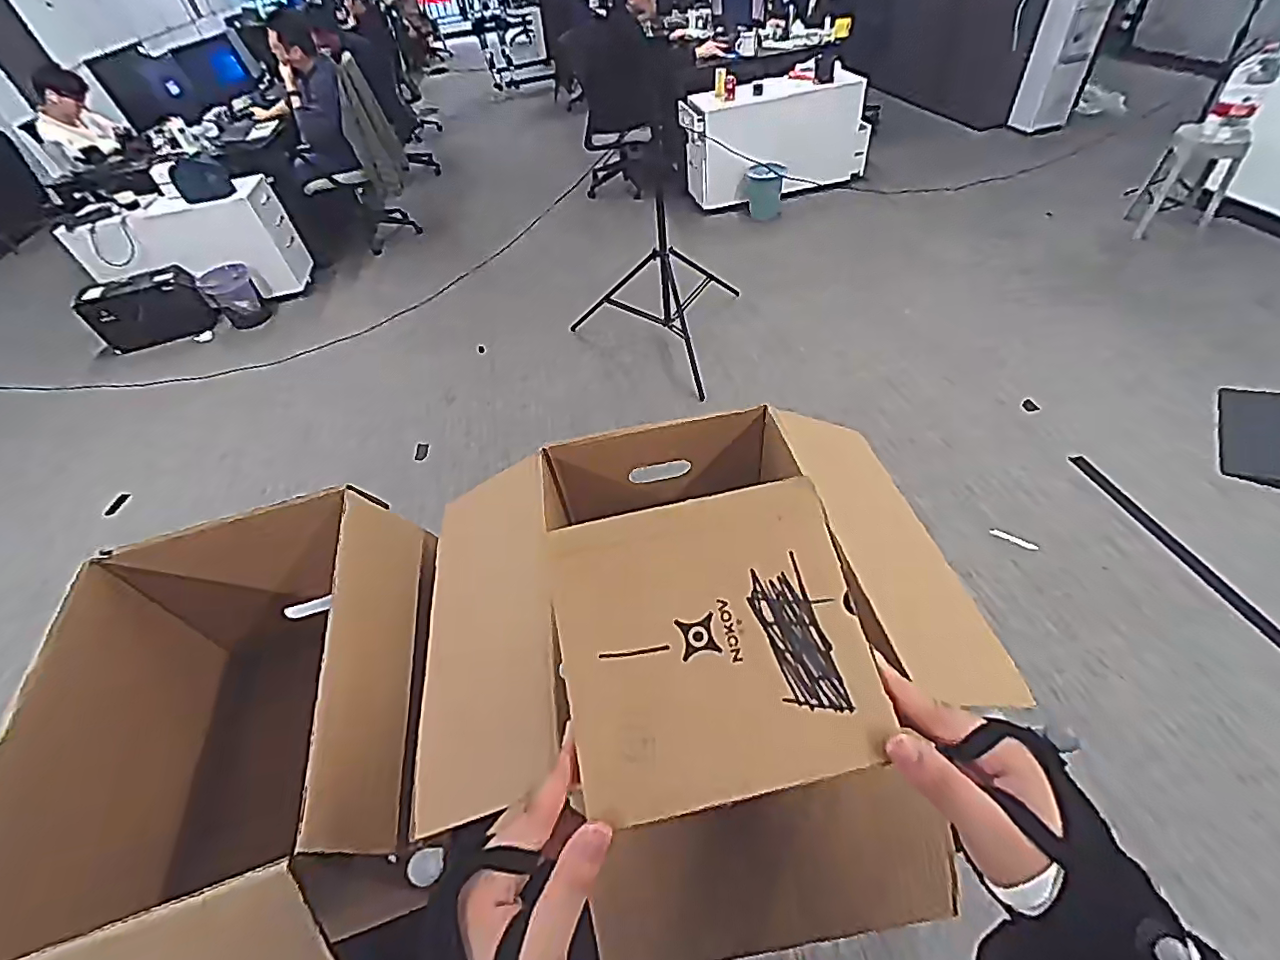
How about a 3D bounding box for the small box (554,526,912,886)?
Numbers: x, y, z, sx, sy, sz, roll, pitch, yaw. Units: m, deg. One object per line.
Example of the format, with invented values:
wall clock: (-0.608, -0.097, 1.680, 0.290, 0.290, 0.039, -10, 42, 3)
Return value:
small box: (0.047, 0.146, 0.384, 0.179, 0.176, 0.168, -12, 69, -3)
